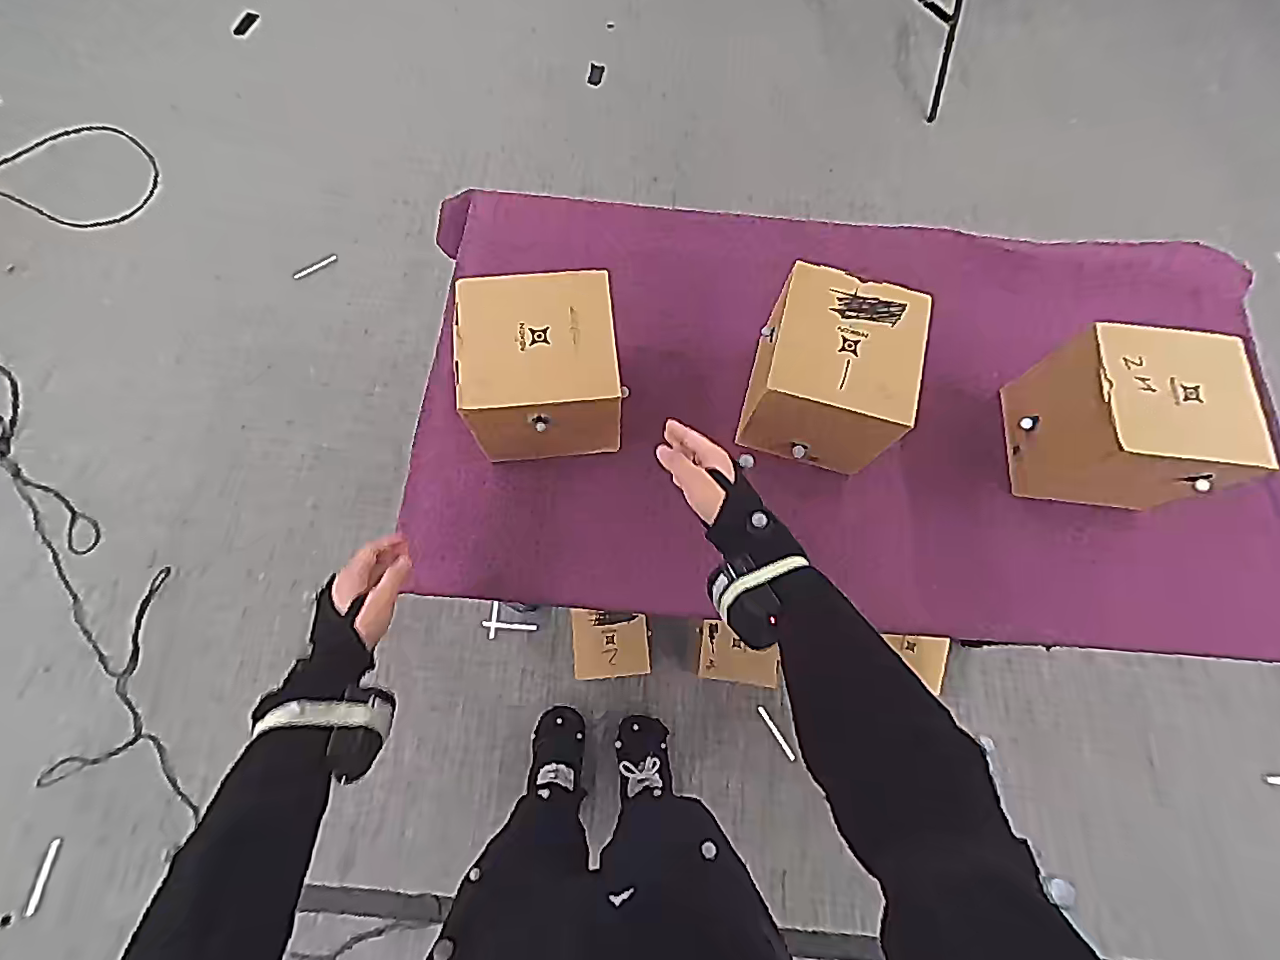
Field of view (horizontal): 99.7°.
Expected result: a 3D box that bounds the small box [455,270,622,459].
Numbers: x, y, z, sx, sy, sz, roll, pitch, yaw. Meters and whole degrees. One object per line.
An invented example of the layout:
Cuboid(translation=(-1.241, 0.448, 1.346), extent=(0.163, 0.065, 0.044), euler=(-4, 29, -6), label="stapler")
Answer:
Cuboid(translation=(-0.117, -0.132, 0.670), extent=(0.179, 0.176, 0.168), euler=(-6, 74, -5), label="small box")

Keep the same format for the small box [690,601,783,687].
Cuboid(translation=(0.224, 0.386, 1.281), extent=(0.179, 0.176, 0.168), euler=(8, 72, 1), label="small box")

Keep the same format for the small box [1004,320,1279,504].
Cuboid(translation=(0.600, -0.073, 0.674), extent=(0.179, 0.176, 0.168), euler=(6, 71, 1), label="small box")

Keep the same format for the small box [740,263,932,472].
Cuboid(translation=(0.235, -0.131, 0.681), extent=(0.168, 0.176, 0.179), euler=(16, 73, 3), label="small box")
